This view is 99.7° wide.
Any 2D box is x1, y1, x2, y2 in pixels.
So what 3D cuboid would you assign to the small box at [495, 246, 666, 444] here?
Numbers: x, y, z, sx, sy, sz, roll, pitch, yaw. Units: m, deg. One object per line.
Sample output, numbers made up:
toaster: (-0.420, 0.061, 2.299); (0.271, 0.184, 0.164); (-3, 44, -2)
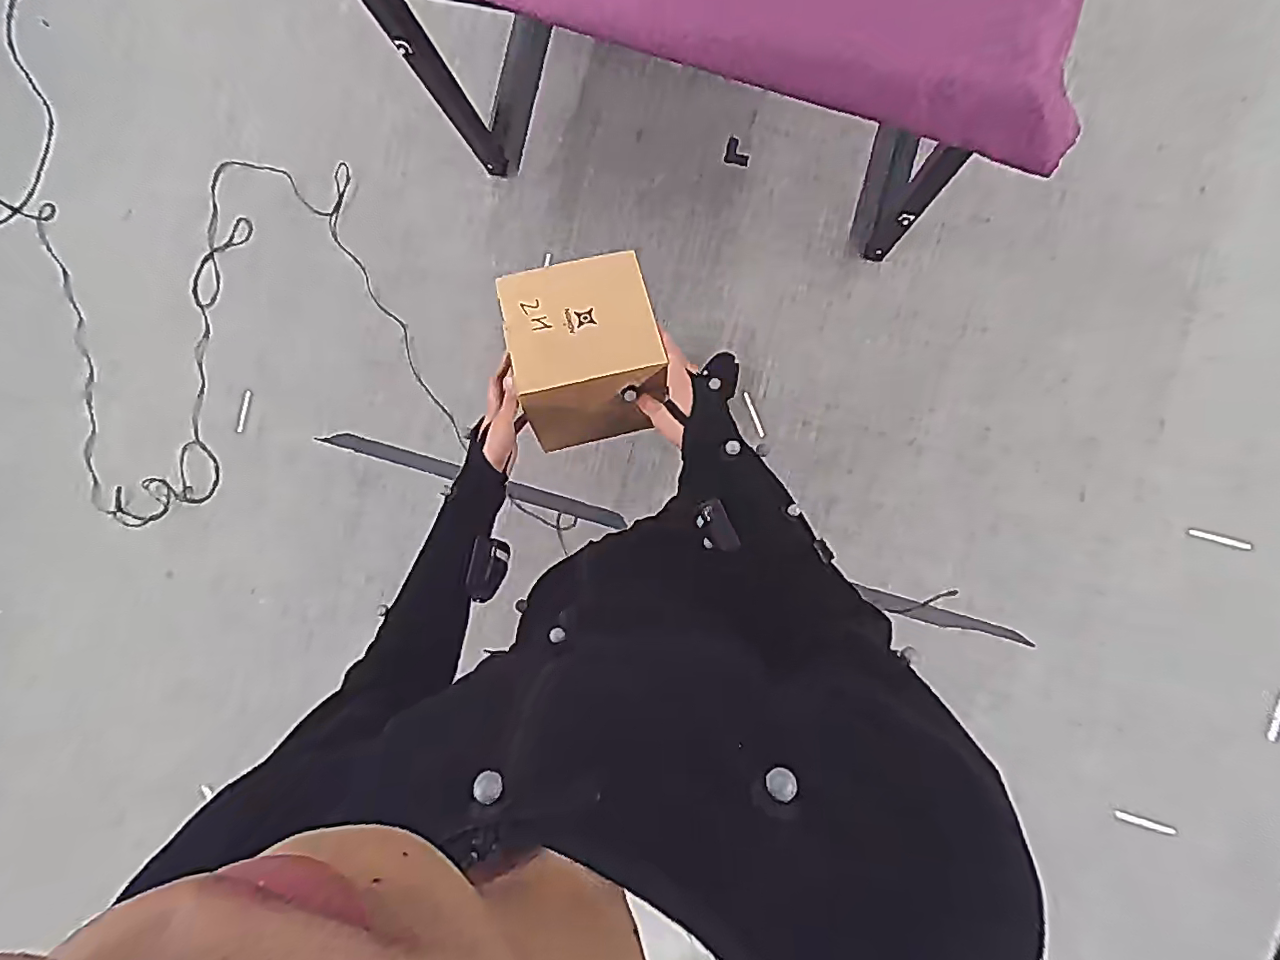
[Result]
small box: (-0.071, -0.164, 0.696); (0.179, 0.176, 0.168); (-13, 70, -3)
